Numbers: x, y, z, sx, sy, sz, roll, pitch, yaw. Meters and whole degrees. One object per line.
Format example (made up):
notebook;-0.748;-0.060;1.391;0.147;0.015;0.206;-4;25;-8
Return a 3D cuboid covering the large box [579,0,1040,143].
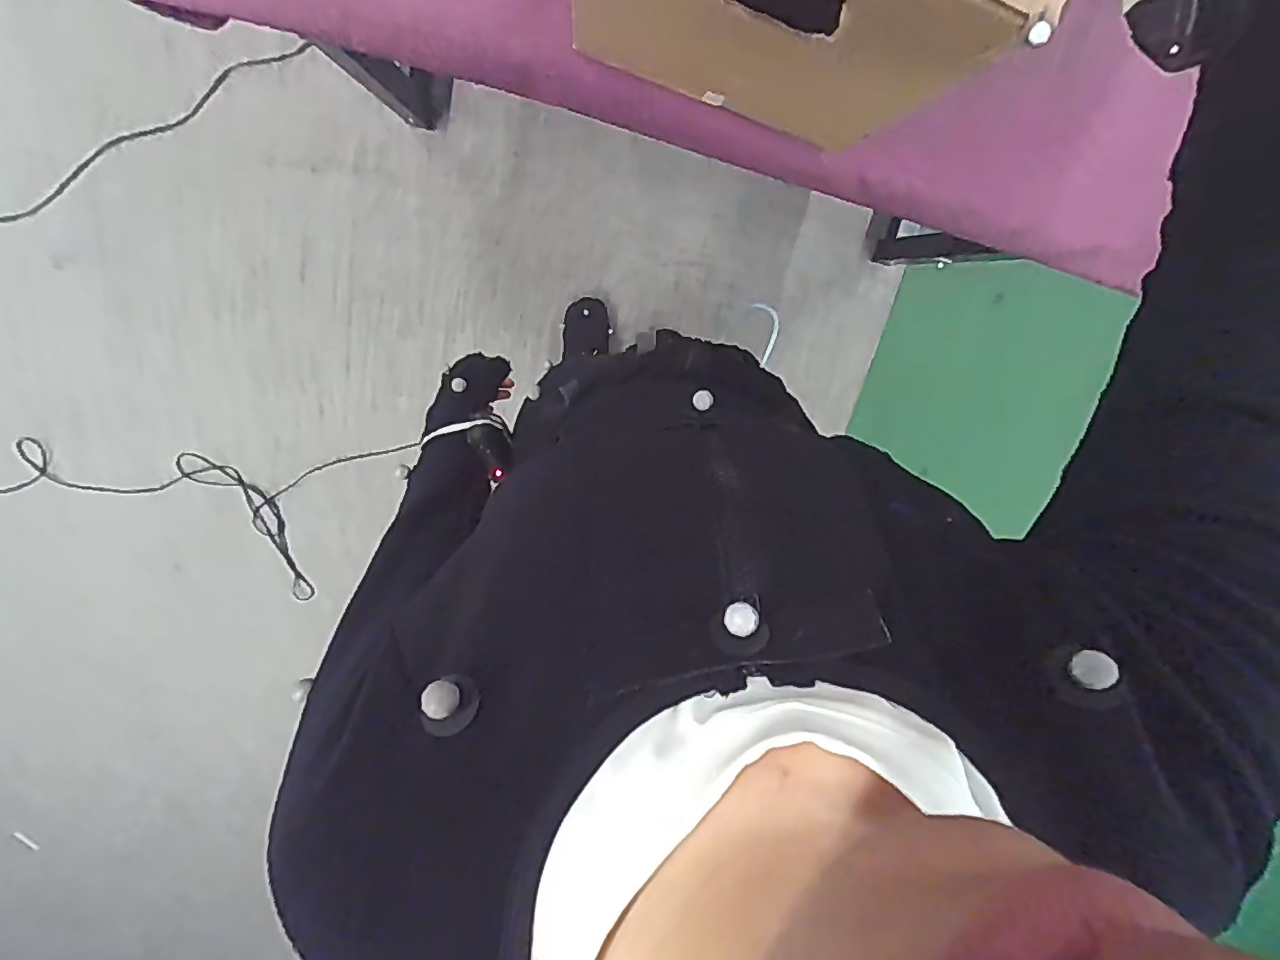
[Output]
large box;0.147;-0.555;0.409;0.320;0.320;0.408;14;109;-10
